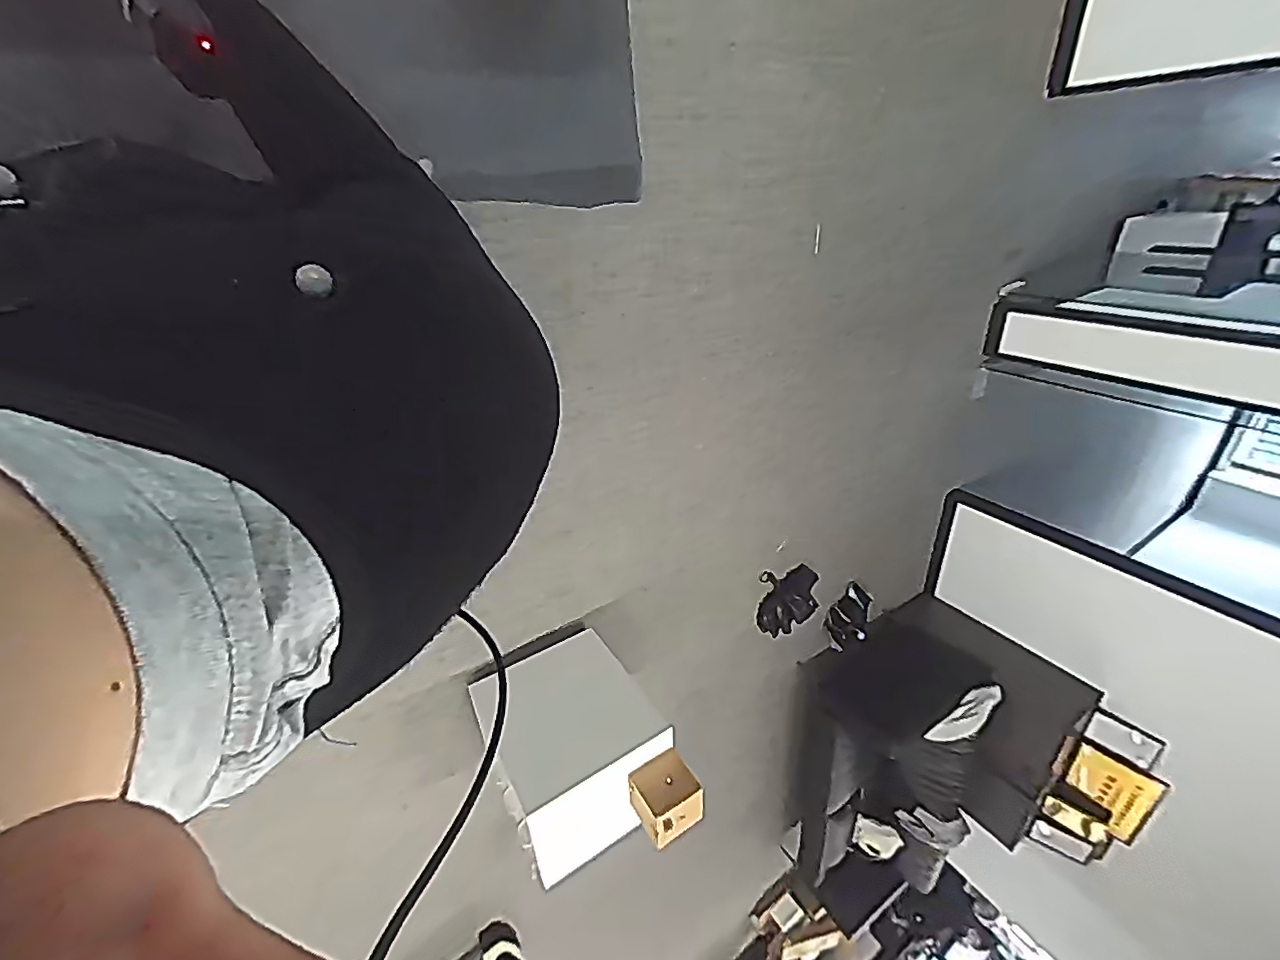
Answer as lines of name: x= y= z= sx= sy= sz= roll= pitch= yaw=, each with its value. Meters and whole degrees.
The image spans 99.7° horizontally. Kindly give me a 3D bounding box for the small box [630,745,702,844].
small box: x=0.078 y=0.999 z=1.730 sx=0.179 sy=0.176 sz=0.168 roll=-20 pitch=124 yaw=-27
